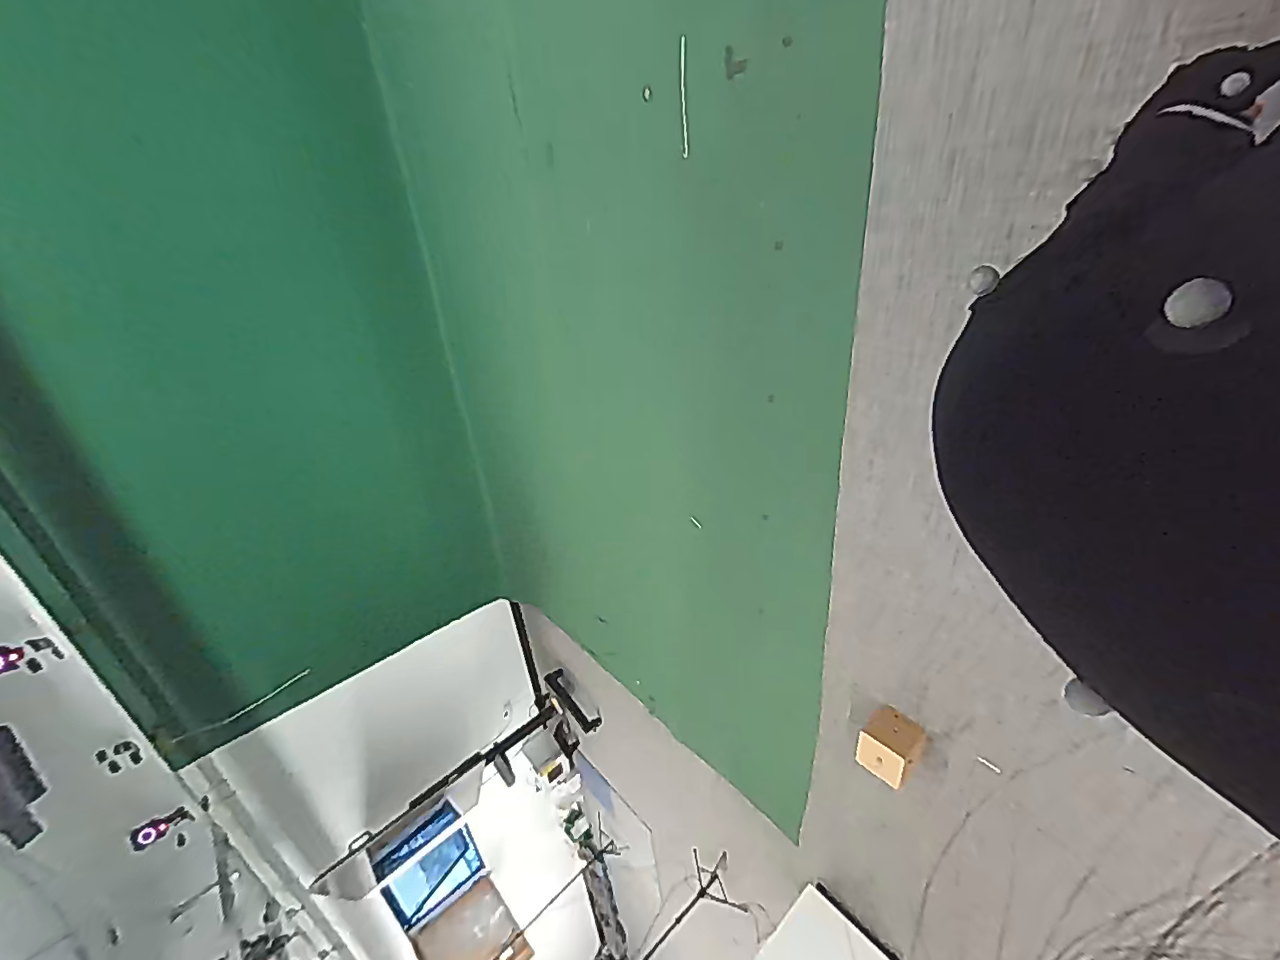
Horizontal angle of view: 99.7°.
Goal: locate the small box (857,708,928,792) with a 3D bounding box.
[{"bbox_3d":[0.916,0.969,1.958,0.168,0.176,0.179,27,131,45],"label":"small box"}]
